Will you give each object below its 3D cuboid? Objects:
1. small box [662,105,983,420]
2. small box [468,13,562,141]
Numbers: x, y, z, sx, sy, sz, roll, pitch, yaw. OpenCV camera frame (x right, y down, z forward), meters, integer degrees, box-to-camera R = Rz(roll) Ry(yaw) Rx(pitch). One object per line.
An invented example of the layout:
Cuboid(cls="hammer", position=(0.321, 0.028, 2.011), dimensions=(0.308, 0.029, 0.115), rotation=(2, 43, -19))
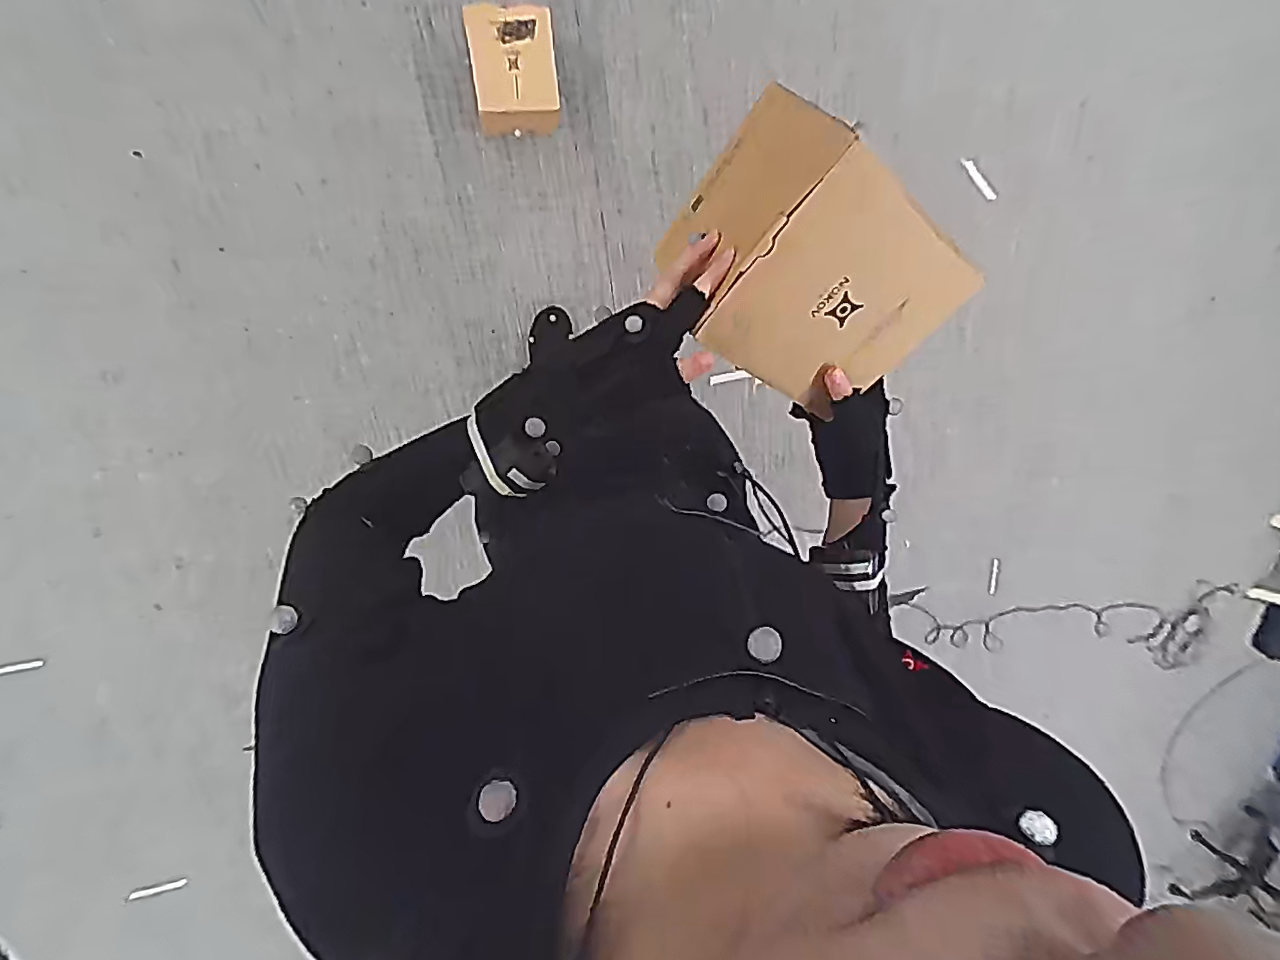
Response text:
Cuboid(cls="small box", position=(0.141, -0.190, 0.474), dimensions=(0.179, 0.176, 0.168), rotation=(21, 127, -31))
Cuboid(cls="small box", position=(-0.263, -0.843, 1.145), dimensions=(0.168, 0.176, 0.179), rotation=(-8, 110, -10))
